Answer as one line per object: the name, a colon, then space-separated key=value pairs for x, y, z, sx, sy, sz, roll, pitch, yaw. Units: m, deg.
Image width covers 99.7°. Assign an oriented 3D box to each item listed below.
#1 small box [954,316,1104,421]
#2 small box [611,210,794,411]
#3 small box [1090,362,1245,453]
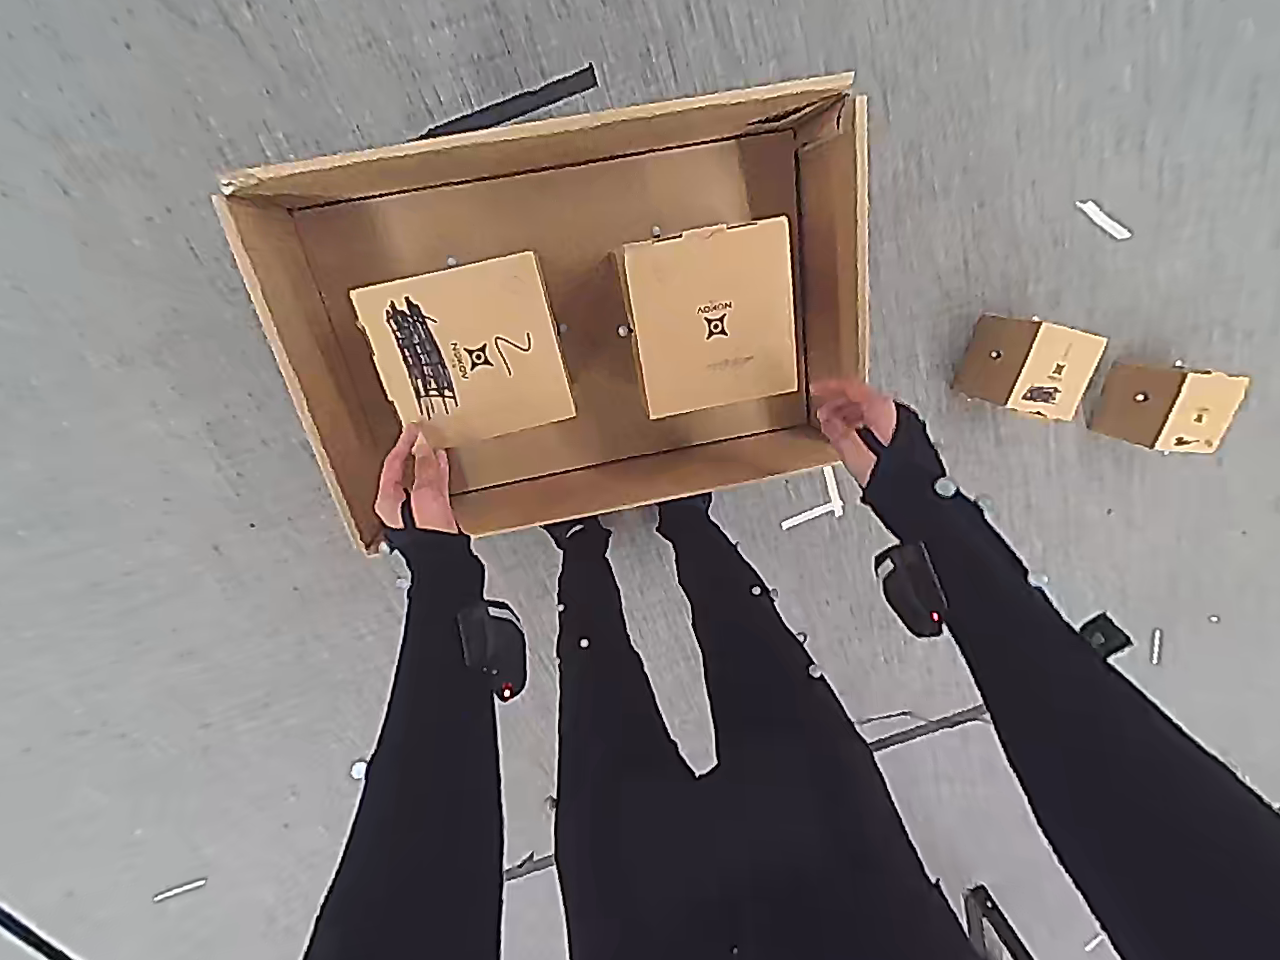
small box: x=0.820 y=-0.245 z=1.165 sx=0.168 sy=0.176 sz=0.179 roll=9 pitch=109 yaw=-12
small box: x=0.064 y=-0.194 z=0.624 sx=0.168 sy=0.176 sz=0.179 roll=-11 pitch=111 yaw=-2
small box: x=1.201 y=-0.172 z=1.248 sx=0.168 sy=0.176 sz=0.179 roll=3 pitch=110 yaw=-9
